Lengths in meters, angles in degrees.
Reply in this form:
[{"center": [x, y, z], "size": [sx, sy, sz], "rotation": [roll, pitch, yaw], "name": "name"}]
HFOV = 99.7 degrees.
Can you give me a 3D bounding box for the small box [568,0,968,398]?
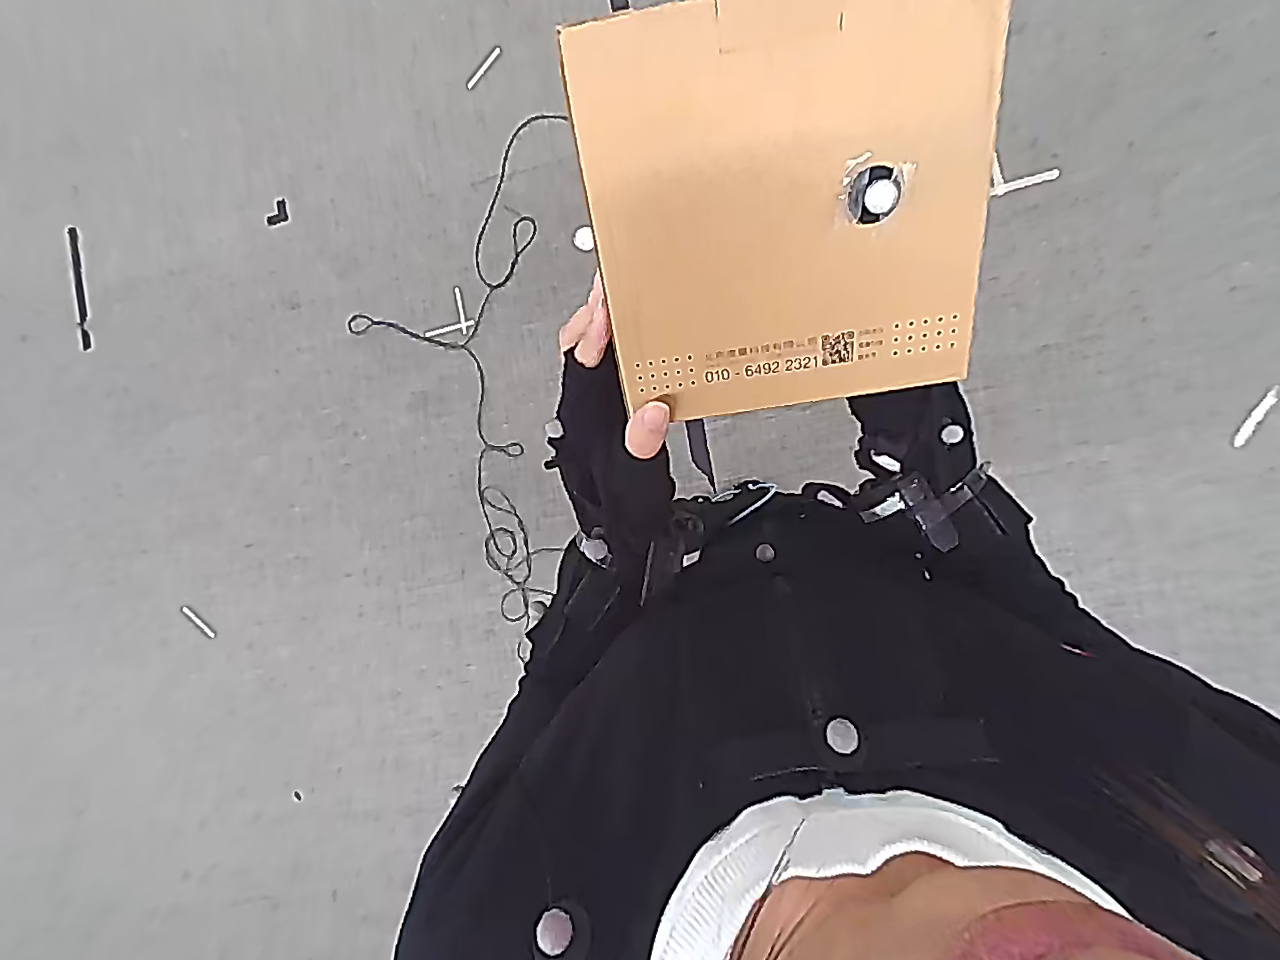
[{"center": [0.068, -0.155, 0.323], "size": [0.168, 0.179, 0.176], "rotation": [-7, 118, 7], "name": "small box"}]
